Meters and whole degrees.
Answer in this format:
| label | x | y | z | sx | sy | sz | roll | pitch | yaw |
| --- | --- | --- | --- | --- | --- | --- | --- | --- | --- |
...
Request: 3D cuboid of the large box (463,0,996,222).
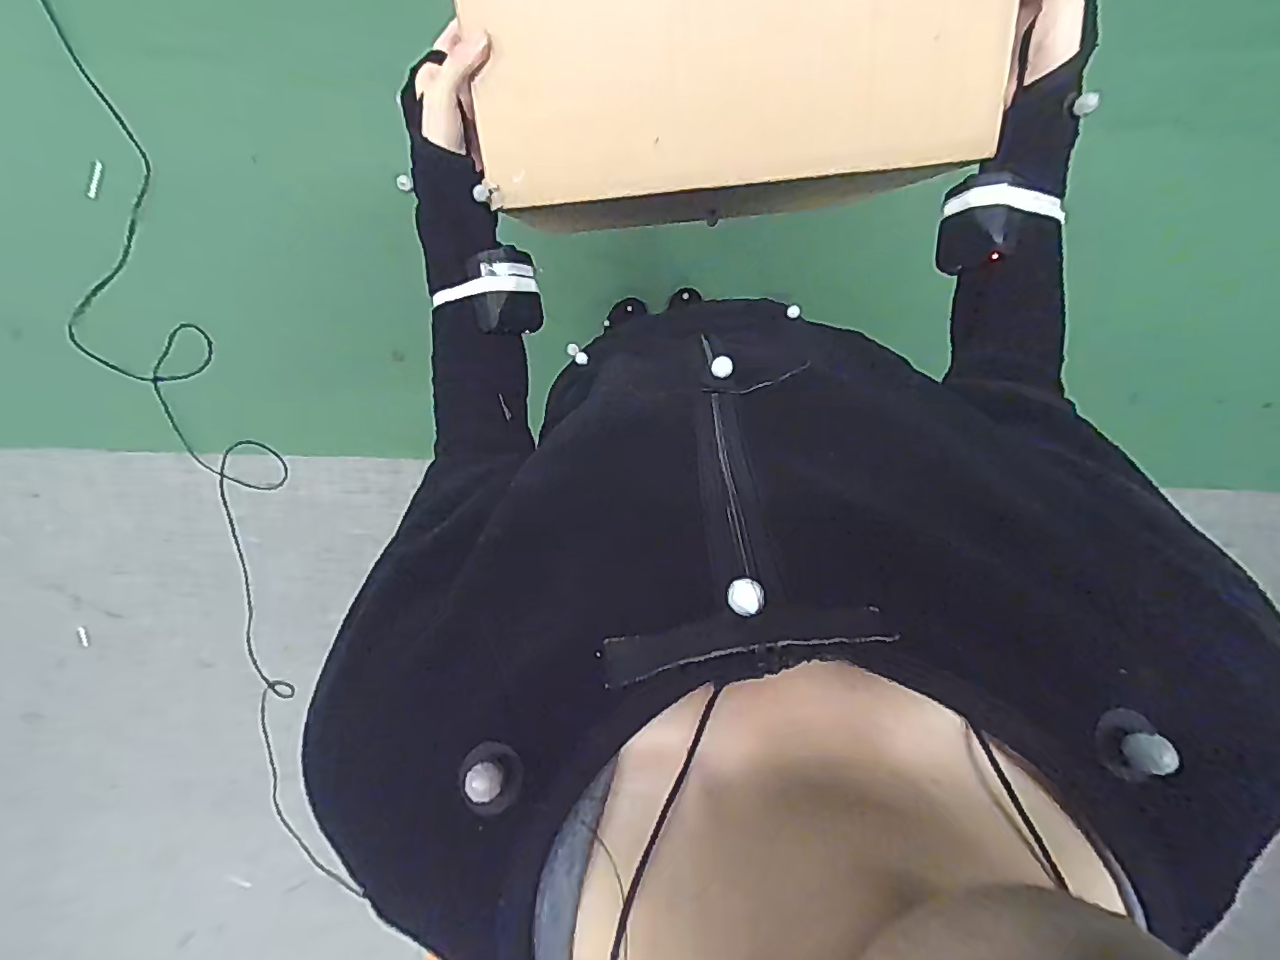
| label | x | y | z | sx | sy | sz | roll | pitch | yaw |
| --- | --- | --- | --- | --- | --- | --- | --- | --- | --- |
| large box | 0.063 | -0.447 | 0.524 | 0.408 | 0.320 | 0.320 | -5 | 111 | 1 |
